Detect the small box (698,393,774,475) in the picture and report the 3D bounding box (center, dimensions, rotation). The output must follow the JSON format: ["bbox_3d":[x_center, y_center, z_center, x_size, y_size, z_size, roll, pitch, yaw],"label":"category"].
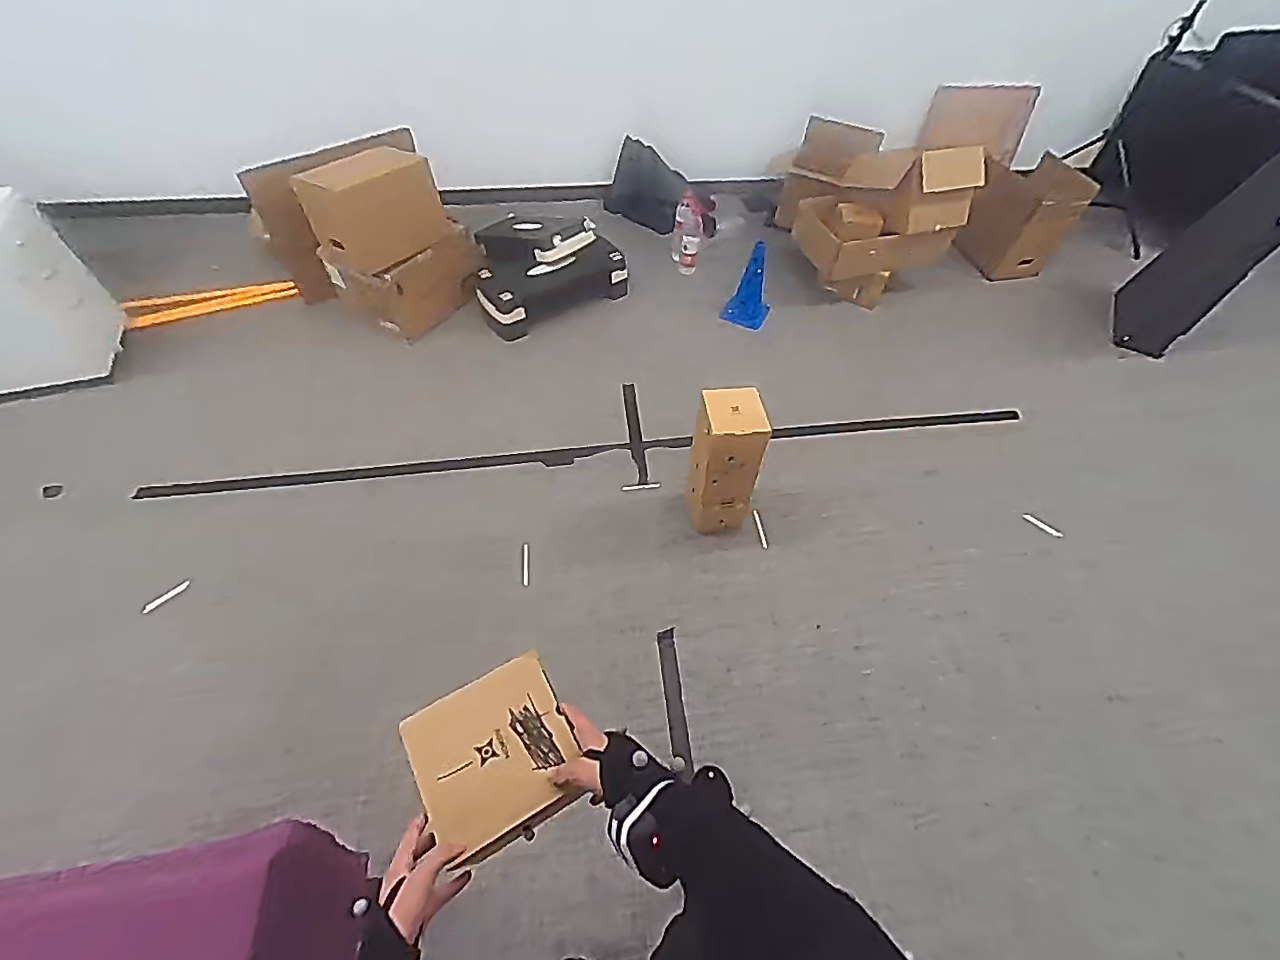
[{"bbox_3d":[0.272,-0.134,1.582,0.168,0.176,0.179,-4,54,-6],"label":"small box"}]

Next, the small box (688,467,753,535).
[{"bbox_3d":[0.267,0.066,1.842,0.168,0.176,0.179,-7,55,-8],"label":"small box"}]

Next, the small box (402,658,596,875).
[{"bbox_3d":[-0.167,0.357,0.686,0.179,0.176,0.168,-26,61,-16],"label":"small box"}]
